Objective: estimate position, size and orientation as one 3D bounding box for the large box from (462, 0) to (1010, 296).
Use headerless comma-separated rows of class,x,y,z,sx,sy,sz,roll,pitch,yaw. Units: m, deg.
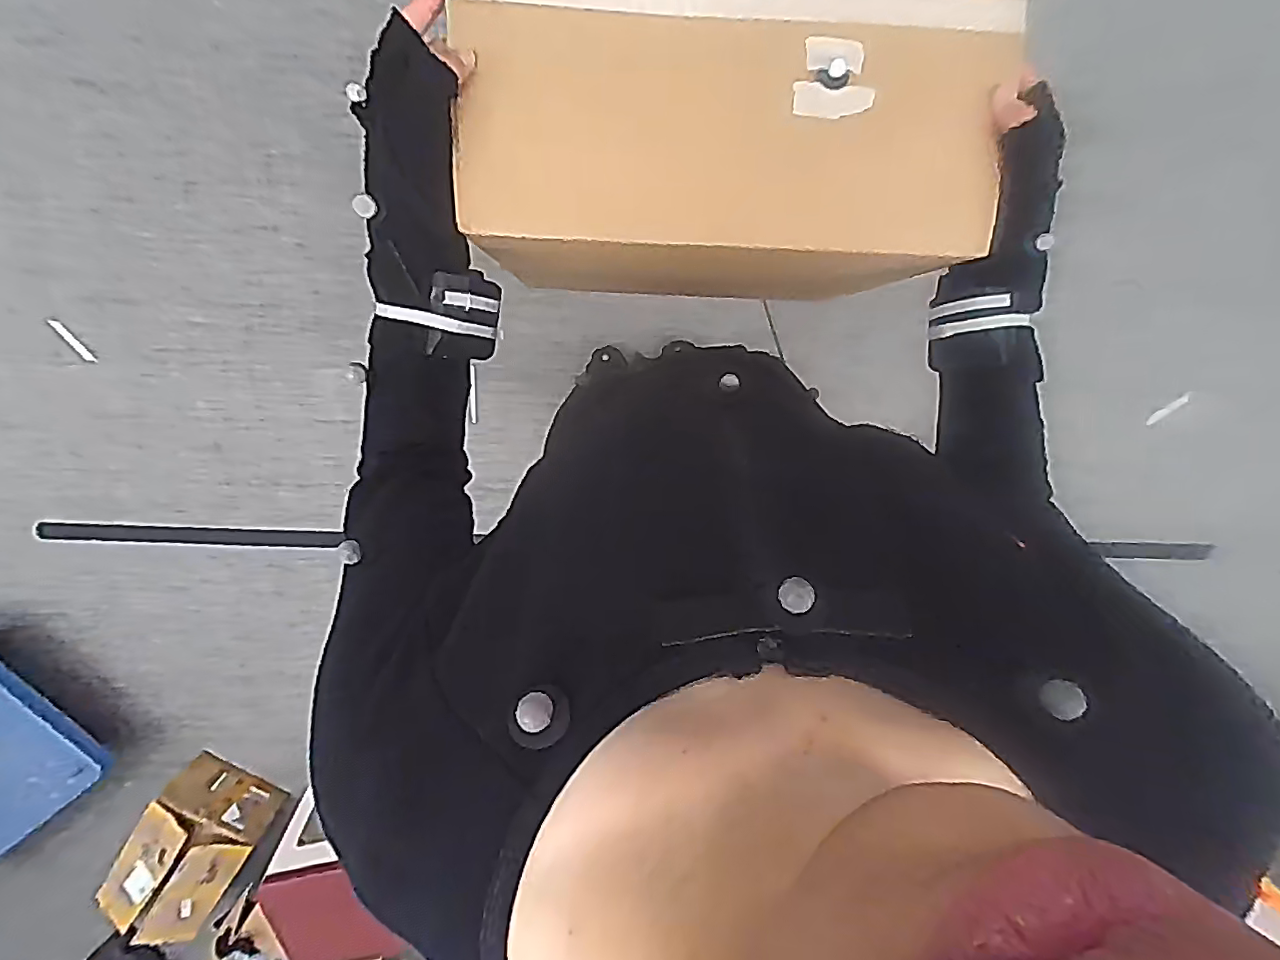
large box,0.063,-0.366,0.533,0.408,0.320,0.320,1,102,-3
